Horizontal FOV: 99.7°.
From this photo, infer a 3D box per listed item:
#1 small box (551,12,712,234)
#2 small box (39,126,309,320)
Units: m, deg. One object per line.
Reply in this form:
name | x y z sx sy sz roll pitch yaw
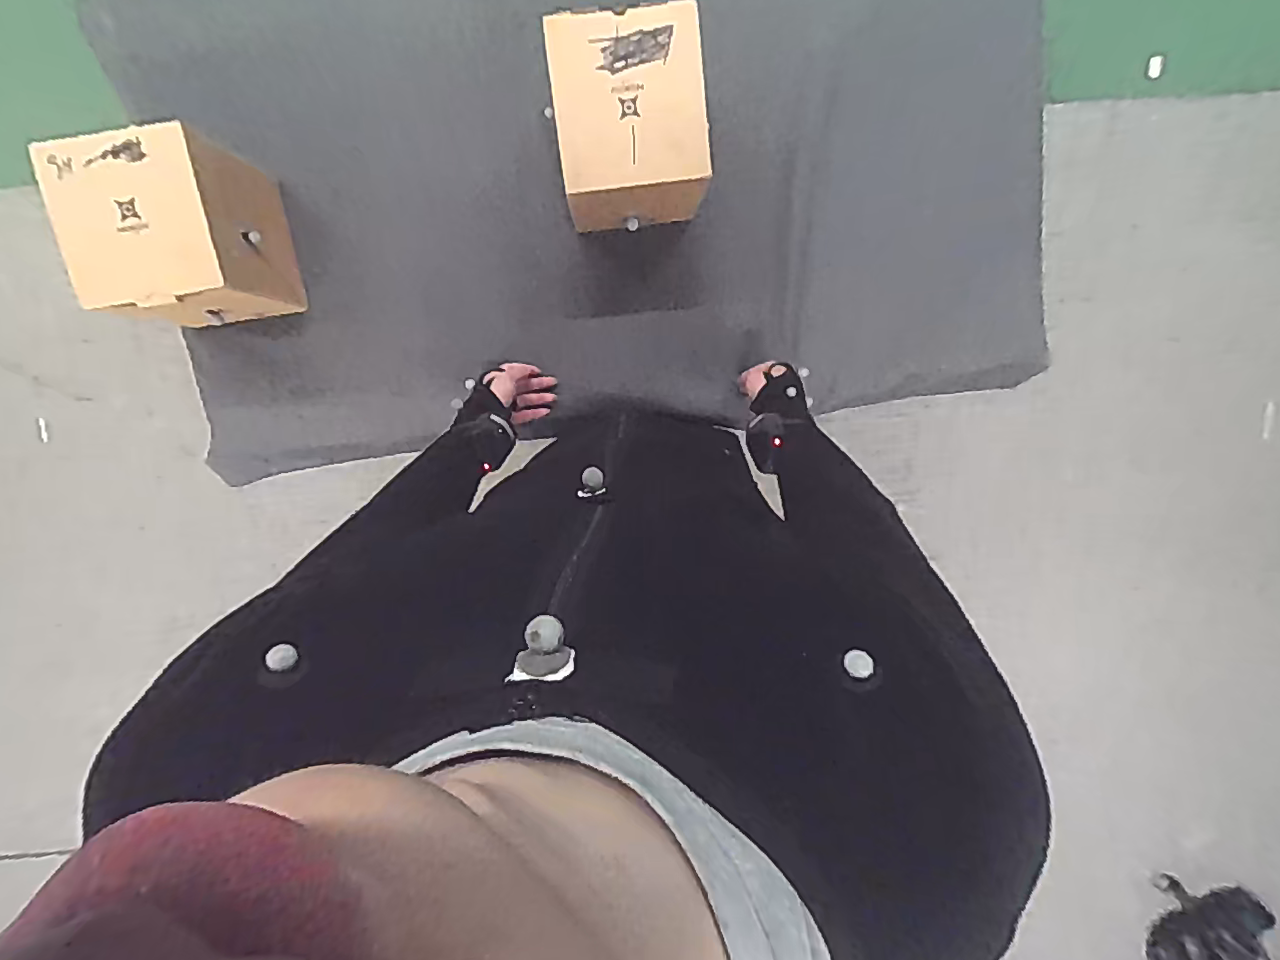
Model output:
small box | -0.012 -0.425 0.672 0.168 0.176 0.179 -7 102 -1
small box | -0.550 -0.299 0.671 0.168 0.176 0.179 -9 101 -1
